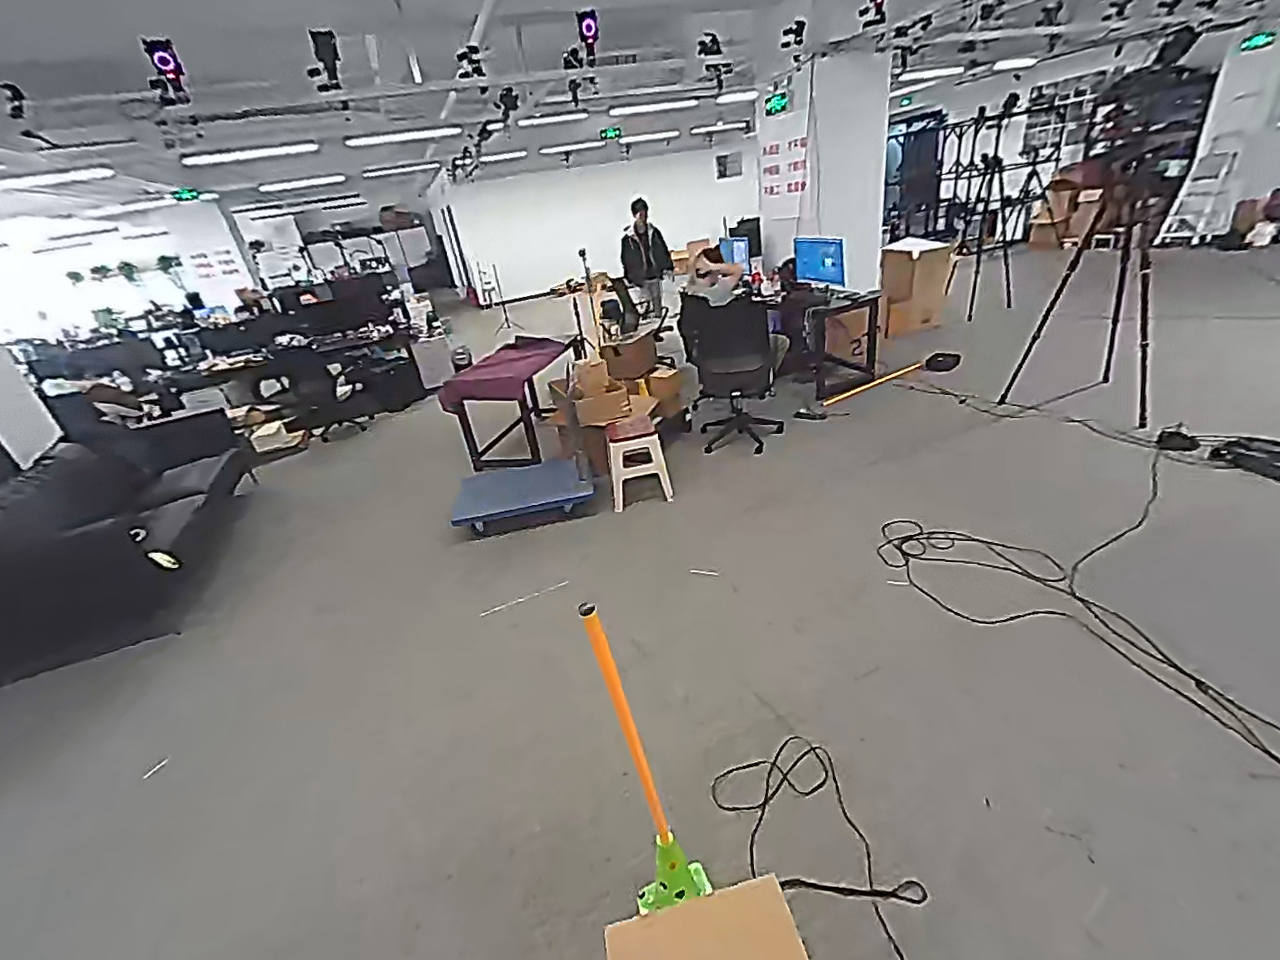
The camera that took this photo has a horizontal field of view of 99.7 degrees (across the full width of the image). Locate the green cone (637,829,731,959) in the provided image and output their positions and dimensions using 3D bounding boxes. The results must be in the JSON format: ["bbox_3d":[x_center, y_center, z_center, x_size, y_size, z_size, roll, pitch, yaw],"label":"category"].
[{"bbox_3d":[0.088,0.994,1.335,0.202,0.368,0.200,-16,28,-15],"label":"green cone"}]
